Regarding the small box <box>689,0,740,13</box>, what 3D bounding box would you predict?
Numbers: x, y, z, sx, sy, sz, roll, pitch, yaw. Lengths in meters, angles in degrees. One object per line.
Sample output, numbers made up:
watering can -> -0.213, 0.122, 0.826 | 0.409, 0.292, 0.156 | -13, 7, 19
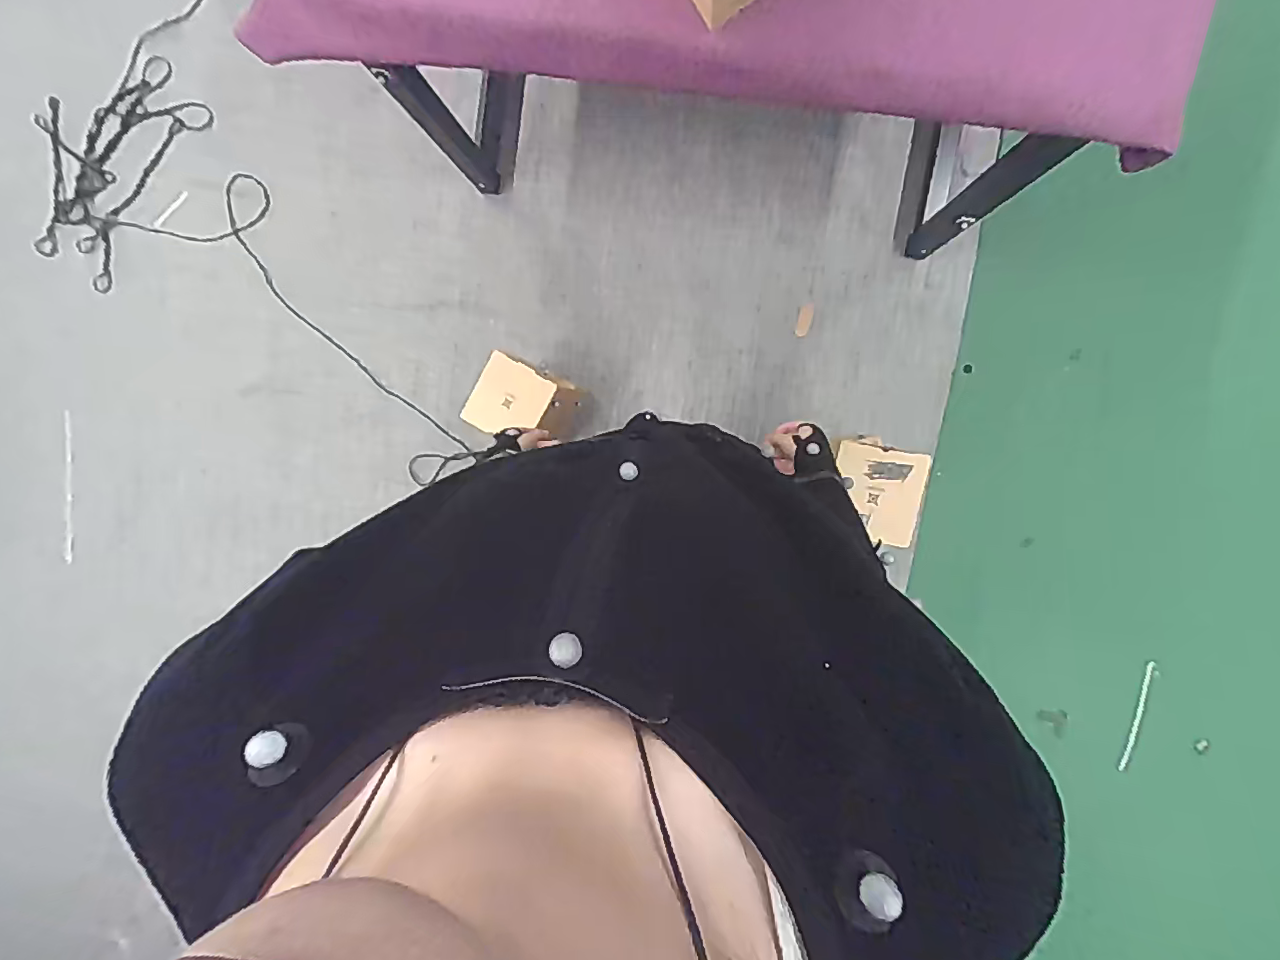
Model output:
small box -> 0.105, -0.690, 0.610 | 0.168, 0.176, 0.179 | -31, 92, 6

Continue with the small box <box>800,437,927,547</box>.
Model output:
small box -> 0.425, 0.014, 1.062 | 0.168, 0.176, 0.179 | 11, 98, 3

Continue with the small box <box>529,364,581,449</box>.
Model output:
small box -> -0.267, -0.198, 1.428 | 0.168, 0.176, 0.179 | 25, 98, 2

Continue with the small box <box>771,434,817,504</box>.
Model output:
small box -> 0.451, -0.013, 1.389 | 0.179, 0.176, 0.168 | 20, 98, 3

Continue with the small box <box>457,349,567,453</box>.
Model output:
small box -> -0.289, -0.181, 1.269 | 0.168, 0.176, 0.179 | 30, 97, 2
